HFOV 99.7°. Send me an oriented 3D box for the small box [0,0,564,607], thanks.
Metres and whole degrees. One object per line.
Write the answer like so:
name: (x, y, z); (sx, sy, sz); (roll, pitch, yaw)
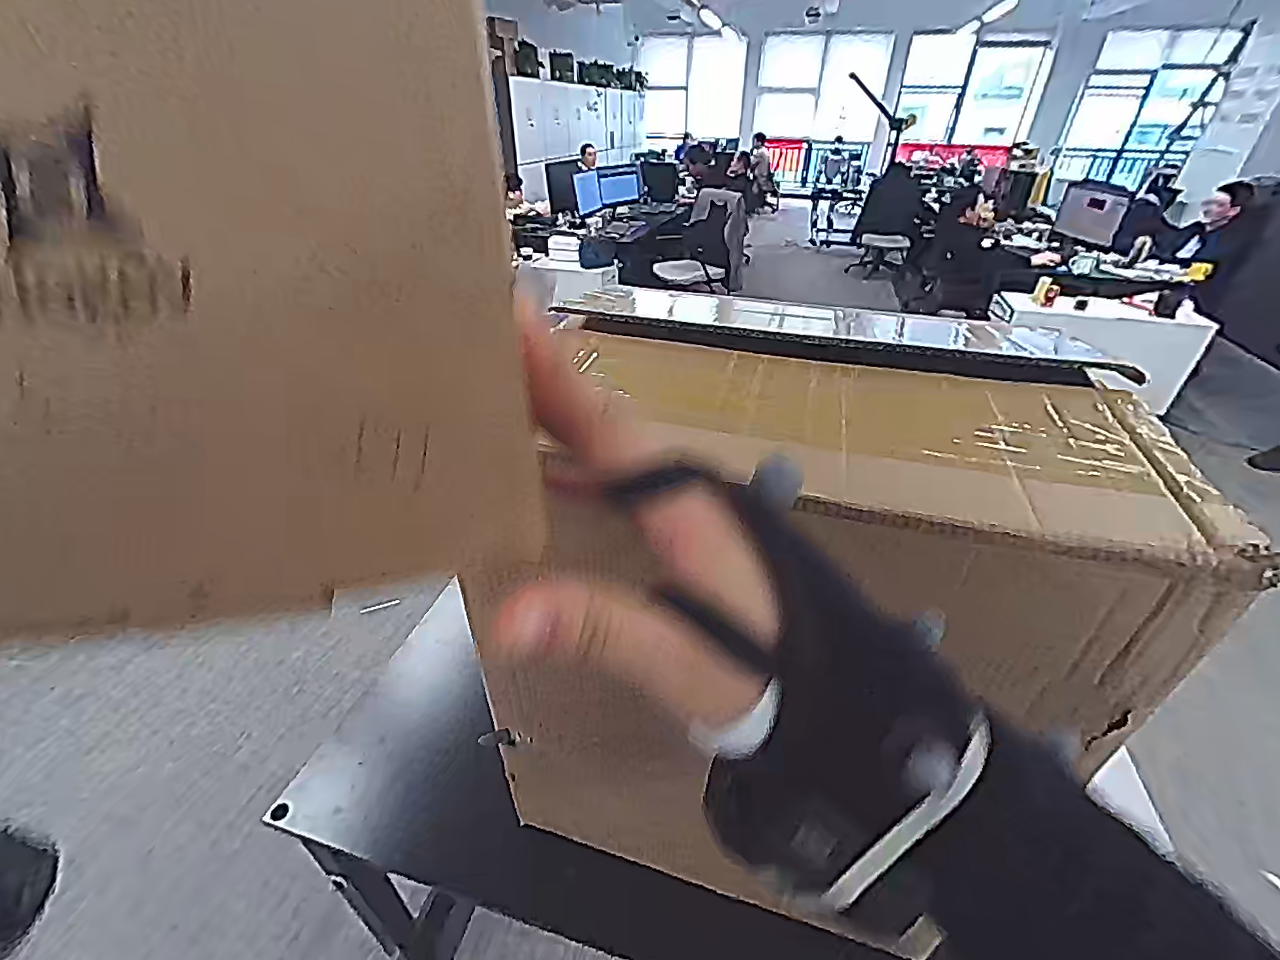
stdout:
small box: (-0.117, -0.086, 0.176); (0.168, 0.179, 0.176); (-8, 24, -9)
